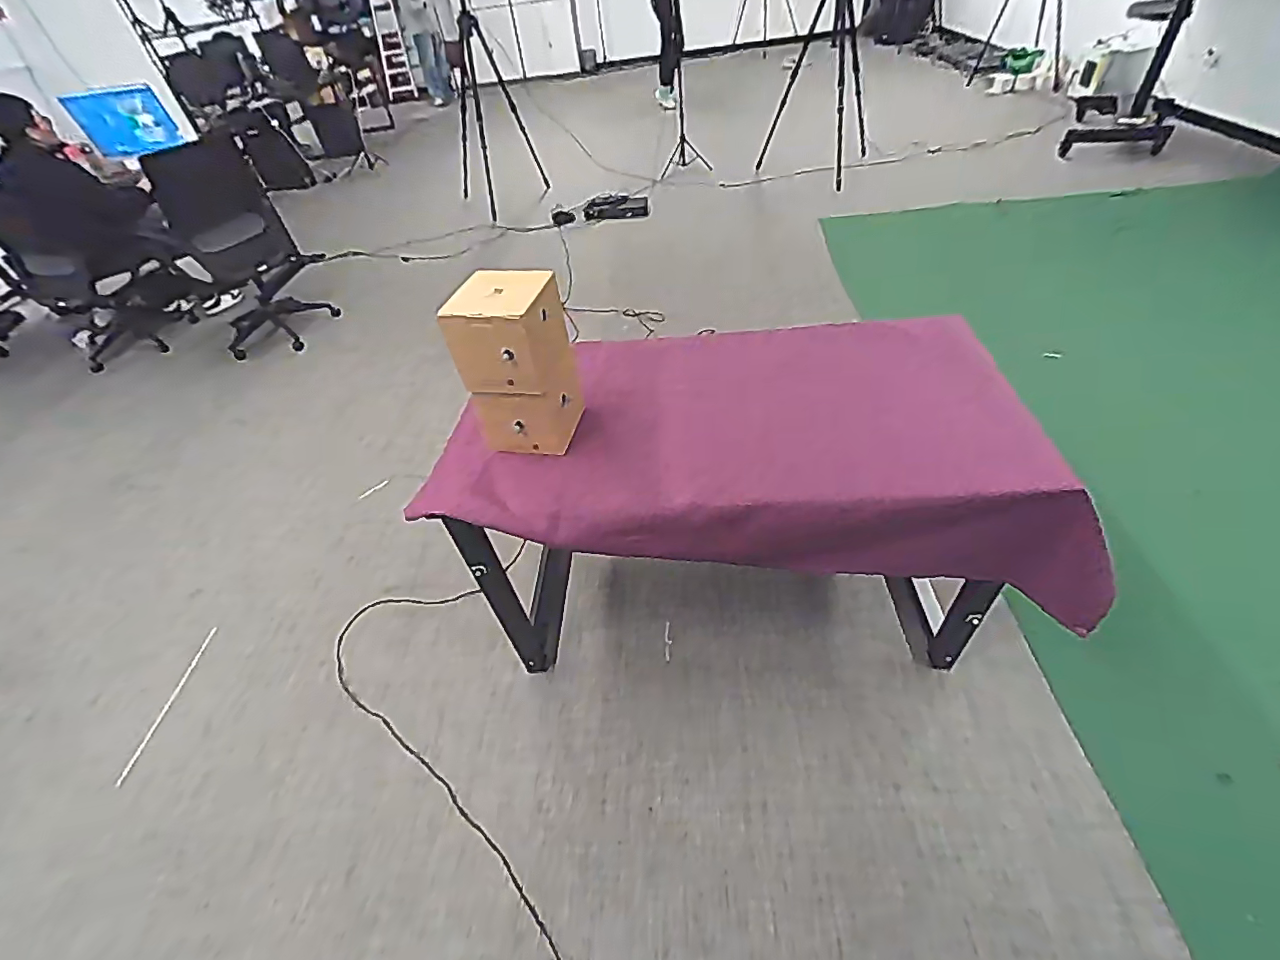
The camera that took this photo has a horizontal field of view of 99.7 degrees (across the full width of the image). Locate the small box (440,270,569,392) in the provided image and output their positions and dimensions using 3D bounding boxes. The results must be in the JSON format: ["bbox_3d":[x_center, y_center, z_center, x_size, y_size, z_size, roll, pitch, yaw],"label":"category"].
[{"bbox_3d":[-0.248,-0.286,1.044,0.168,0.176,0.179,5,46,13],"label":"small box"}]

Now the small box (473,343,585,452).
[{"bbox_3d":[-0.227,-0.178,1.166,0.168,0.176,0.179,4,47,12],"label":"small box"}]
